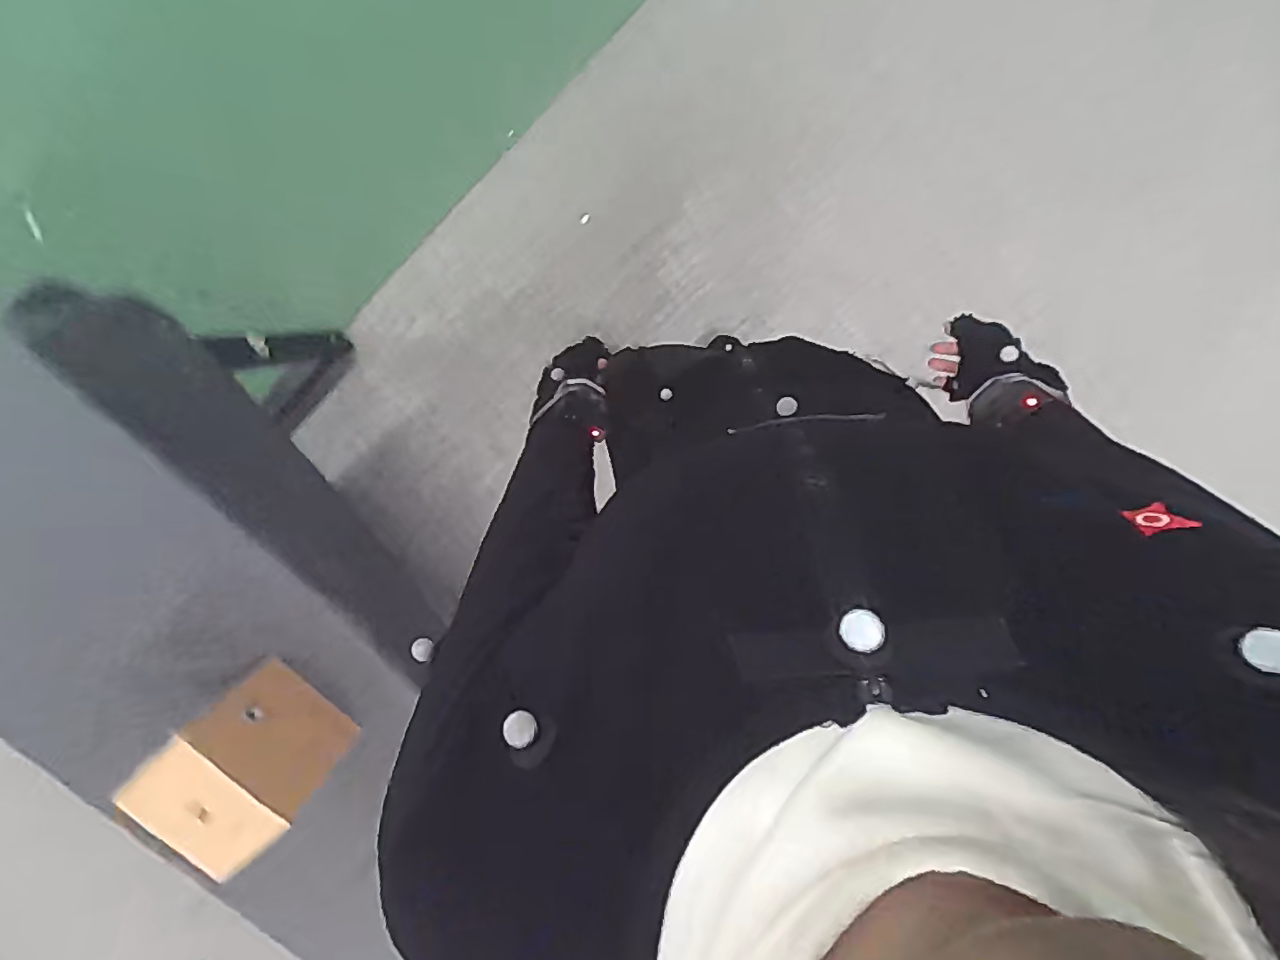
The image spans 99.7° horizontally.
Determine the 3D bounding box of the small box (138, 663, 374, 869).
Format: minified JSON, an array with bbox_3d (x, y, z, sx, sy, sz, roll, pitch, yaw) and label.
[{"bbox_3d":[-0.532,0.391,0.773,0.168,0.176,0.179,-42,101,16],"label":"small box"}]
